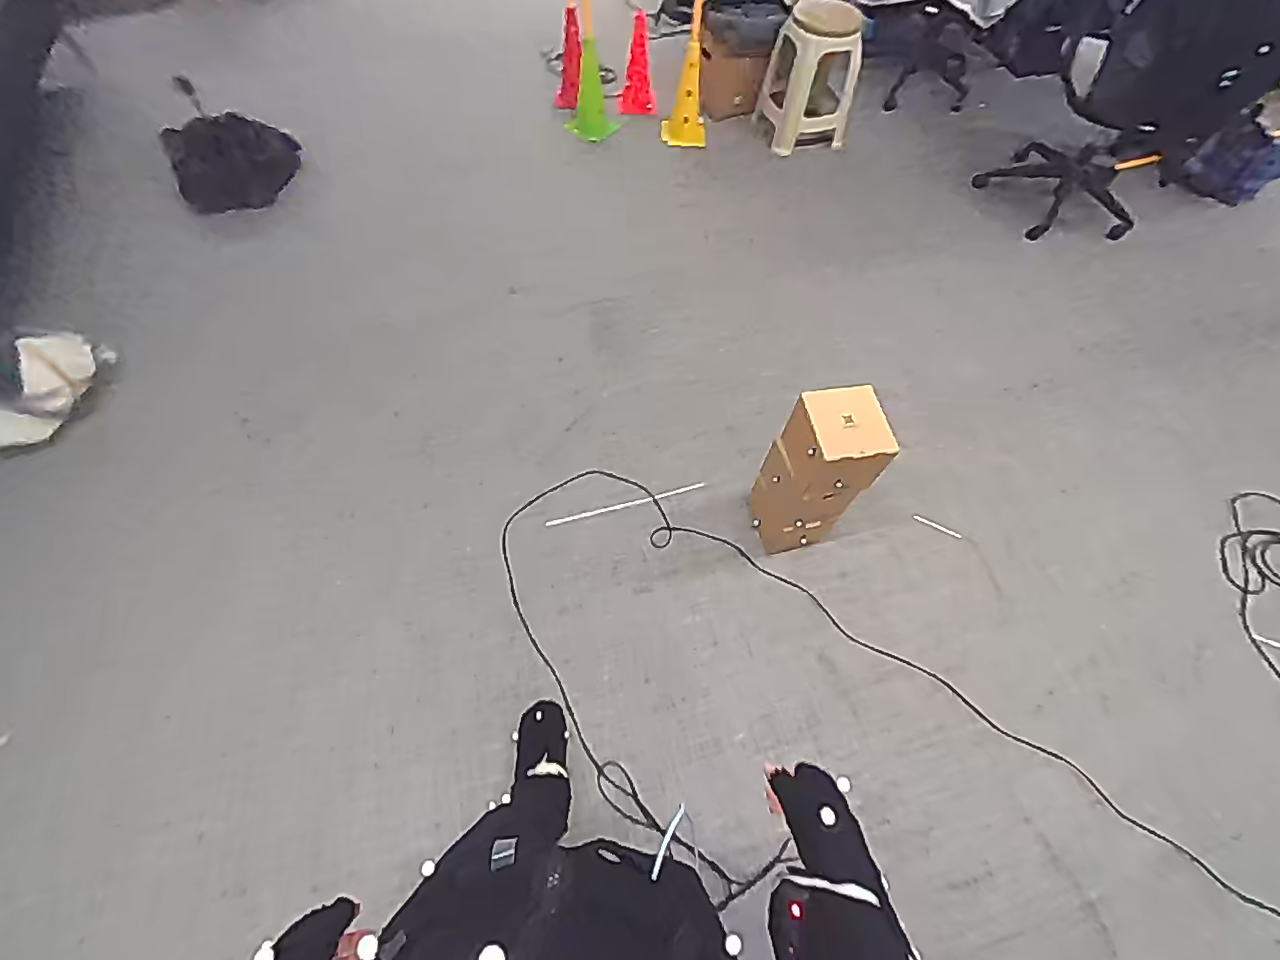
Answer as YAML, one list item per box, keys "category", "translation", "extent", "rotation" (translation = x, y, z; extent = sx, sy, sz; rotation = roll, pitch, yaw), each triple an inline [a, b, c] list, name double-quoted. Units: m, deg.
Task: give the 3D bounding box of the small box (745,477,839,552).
- category: "small box"
  translation: [0.413, 0.087, 1.498]
  extent: [0.168, 0.176, 0.179]
  rotation: [-13, 65, -13]

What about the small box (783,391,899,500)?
- category: "small box"
  translation: [0.438, -0.074, 1.212]
  extent: [0.168, 0.176, 0.179]
  rotation: [-7, 63, -6]

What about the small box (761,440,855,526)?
- category: "small box"
  translation: [0.423, 0.003, 1.354]
  extent: [0.168, 0.176, 0.179]
  rotation: [-11, 62, -9]
